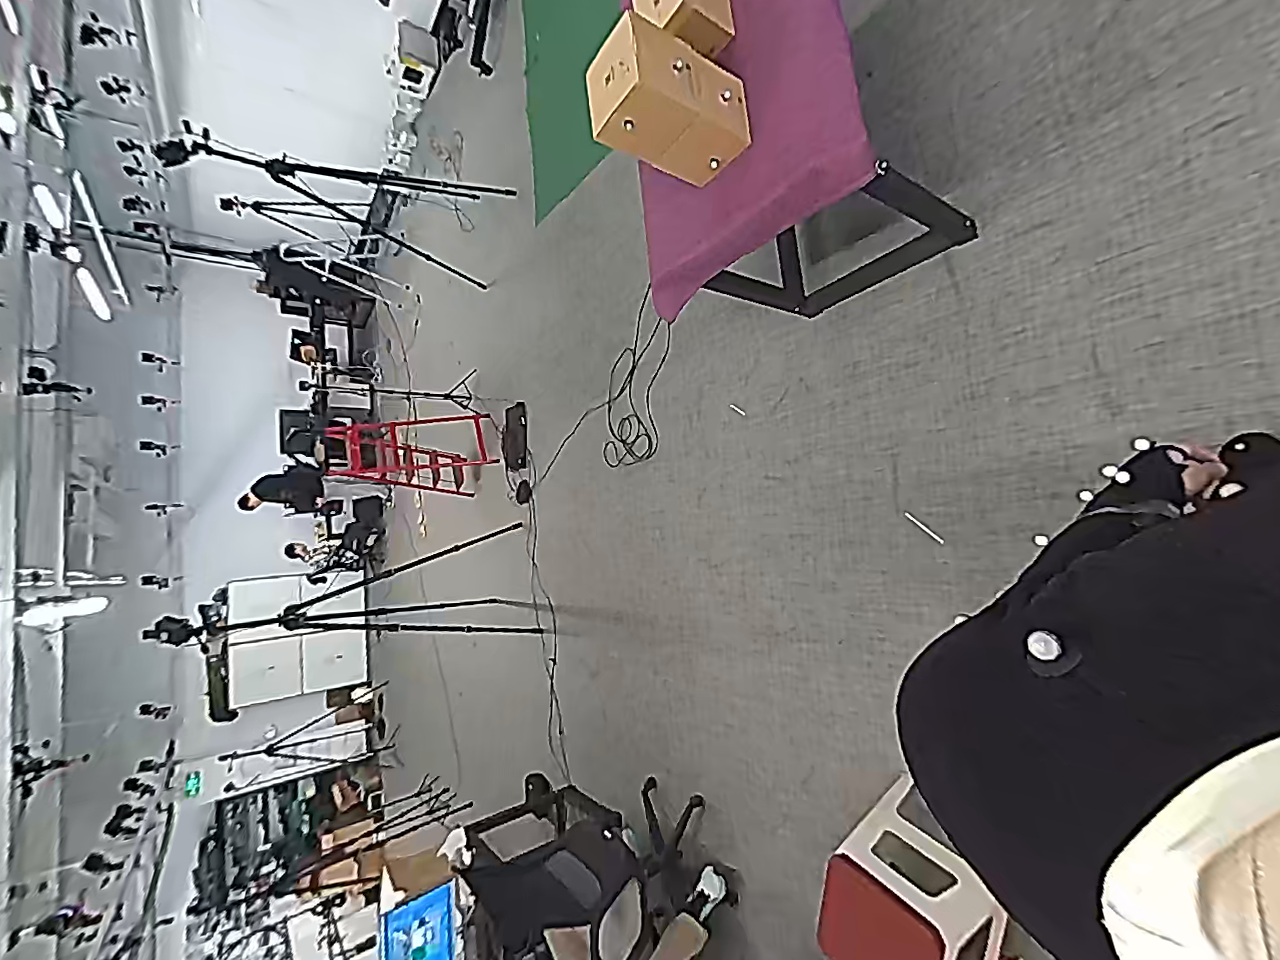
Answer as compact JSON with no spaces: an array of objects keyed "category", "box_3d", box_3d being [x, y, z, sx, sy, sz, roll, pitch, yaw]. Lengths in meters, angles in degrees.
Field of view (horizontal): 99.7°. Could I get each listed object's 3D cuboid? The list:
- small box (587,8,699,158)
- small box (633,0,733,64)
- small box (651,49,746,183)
[{"category":"small box","box_3d":[0.004,-0.848,1.181,0.179,0.176,0.168,-17,78,52]},{"category":"small box","box_3d":[0.105,-1.136,1.315,0.168,0.176,0.179,-16,79,53]},{"category":"small box","box_3d":[0.135,-0.848,1.281,0.179,0.176,0.168,-16,77,52]}]
